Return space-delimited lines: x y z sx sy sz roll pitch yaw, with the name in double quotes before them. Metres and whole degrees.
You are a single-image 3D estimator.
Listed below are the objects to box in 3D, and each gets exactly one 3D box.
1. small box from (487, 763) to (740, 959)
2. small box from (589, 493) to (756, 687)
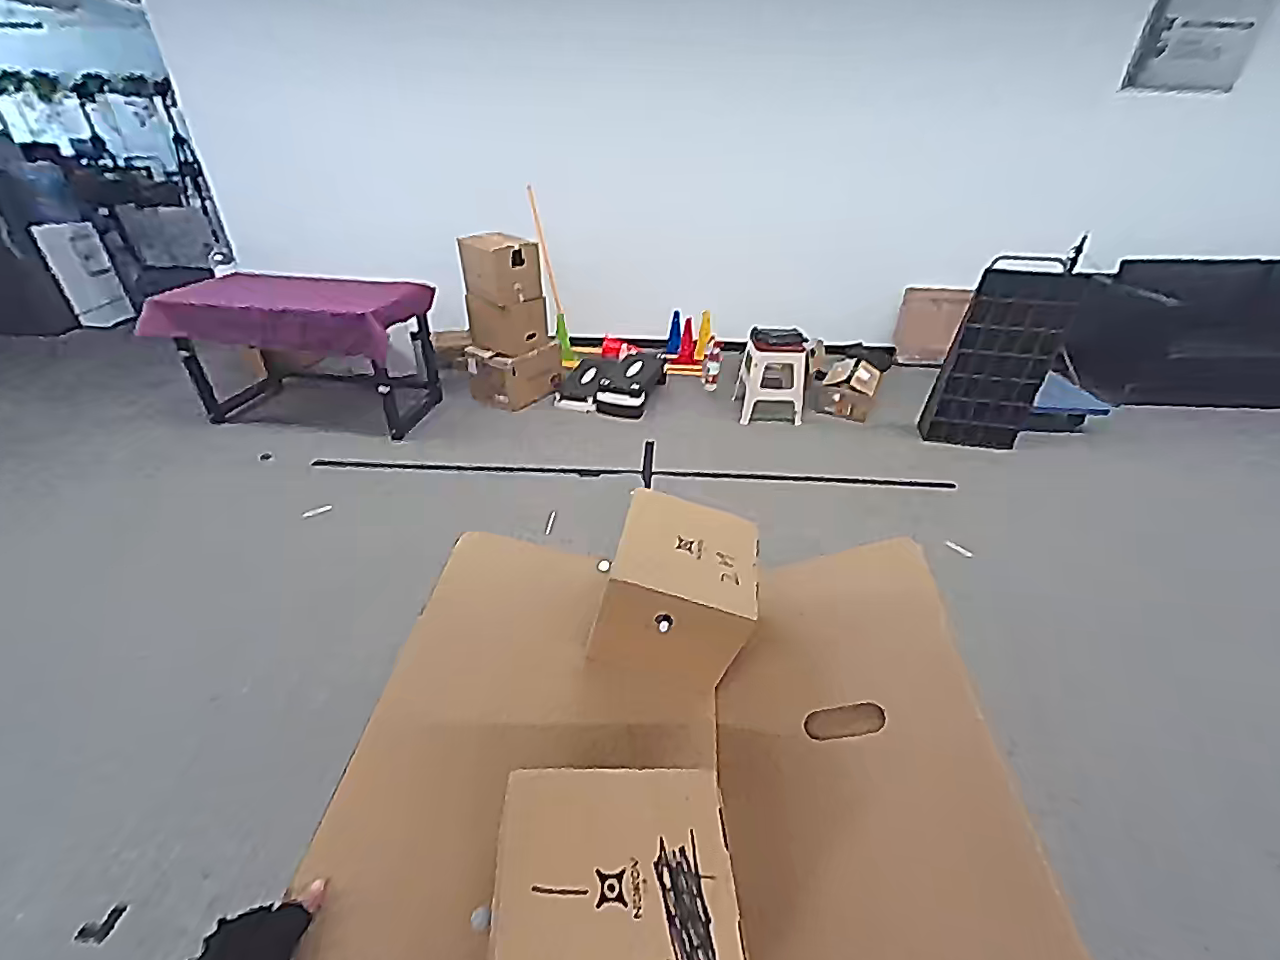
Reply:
"small box" -0.033 0.360 0.458 0.179 0.176 0.168 7 41 -12
"small box" 0.042 0.150 0.728 0.179 0.176 0.168 18 40 0
